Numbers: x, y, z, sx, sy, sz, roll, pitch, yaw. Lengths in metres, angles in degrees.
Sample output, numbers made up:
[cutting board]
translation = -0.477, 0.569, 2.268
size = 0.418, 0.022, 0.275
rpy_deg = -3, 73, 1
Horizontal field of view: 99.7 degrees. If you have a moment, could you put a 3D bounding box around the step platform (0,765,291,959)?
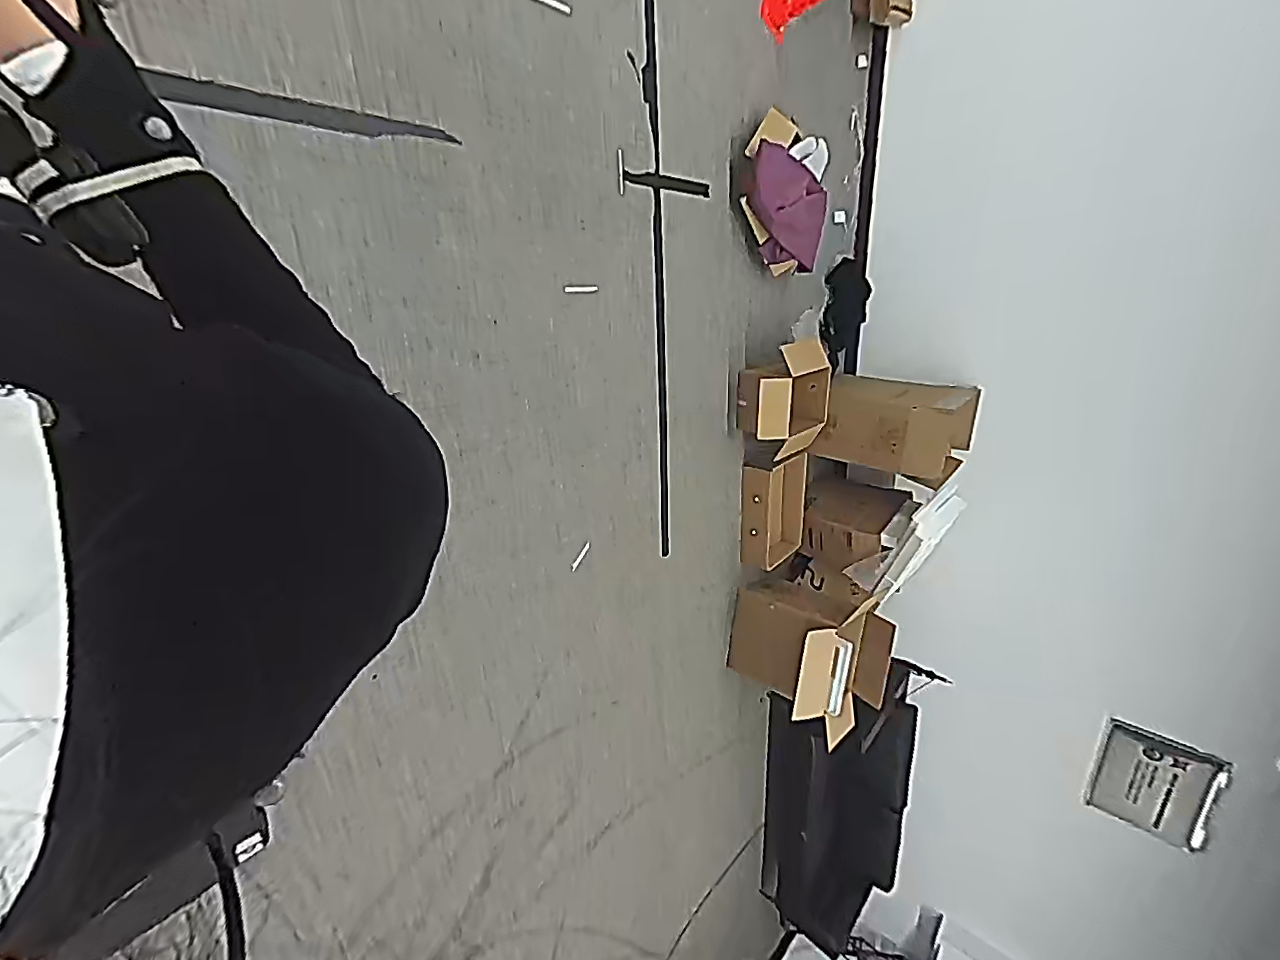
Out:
[step platform]
translation = -1.042, 0.848, 0.958
size = 0.684, 0.204, 0.286
rpy_deg = -24, 120, -42
